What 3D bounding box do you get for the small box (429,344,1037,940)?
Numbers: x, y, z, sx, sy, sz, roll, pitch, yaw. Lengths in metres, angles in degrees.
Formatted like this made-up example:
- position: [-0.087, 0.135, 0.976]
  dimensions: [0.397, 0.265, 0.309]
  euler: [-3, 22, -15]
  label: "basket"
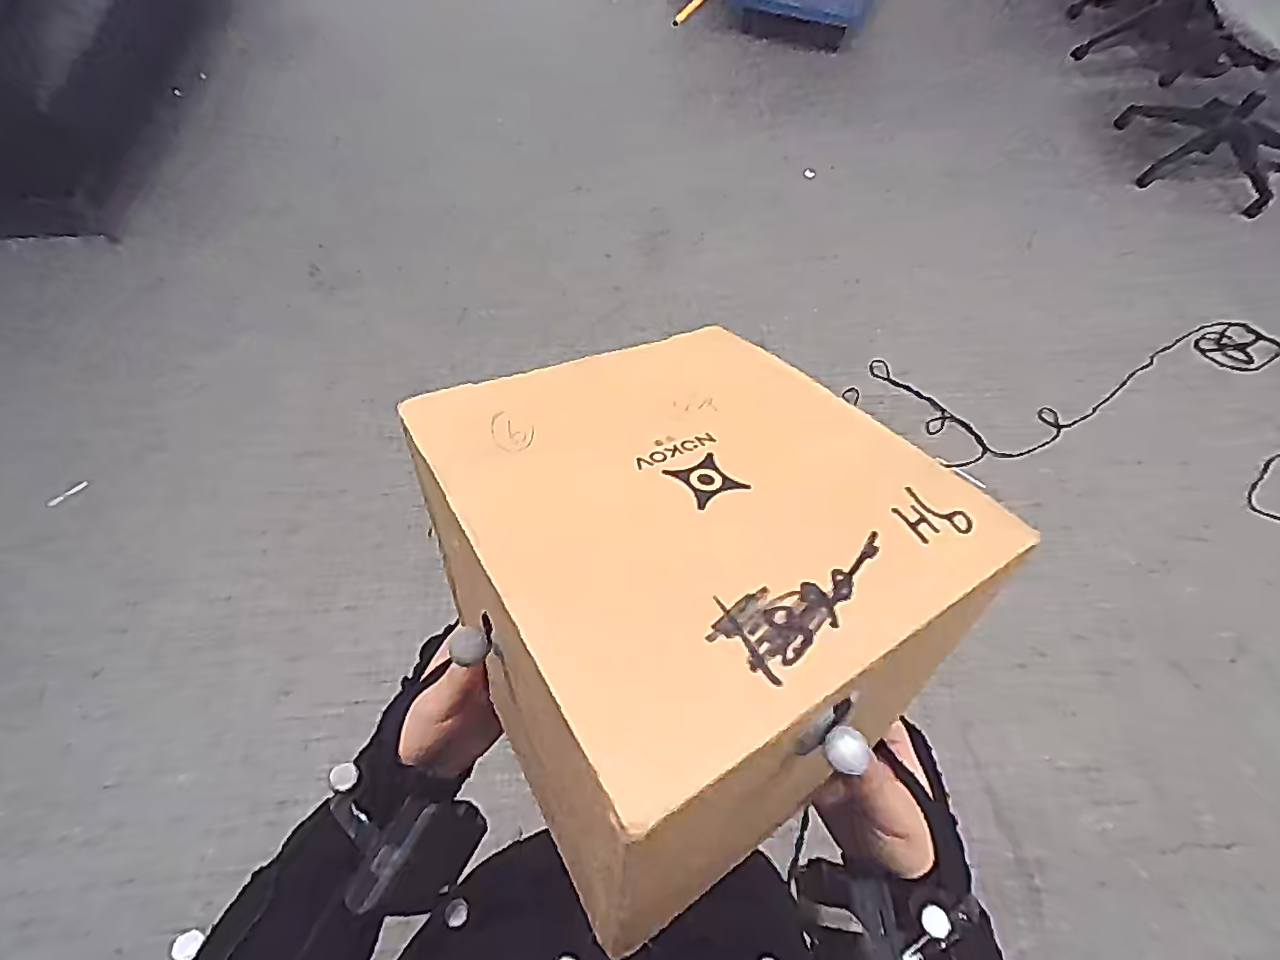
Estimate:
- position: [0.021, 0.062, 0.257]
  dimensions: [0.168, 0.176, 0.179]
  euler: [-23, 47, -26]
  label: "small box"
